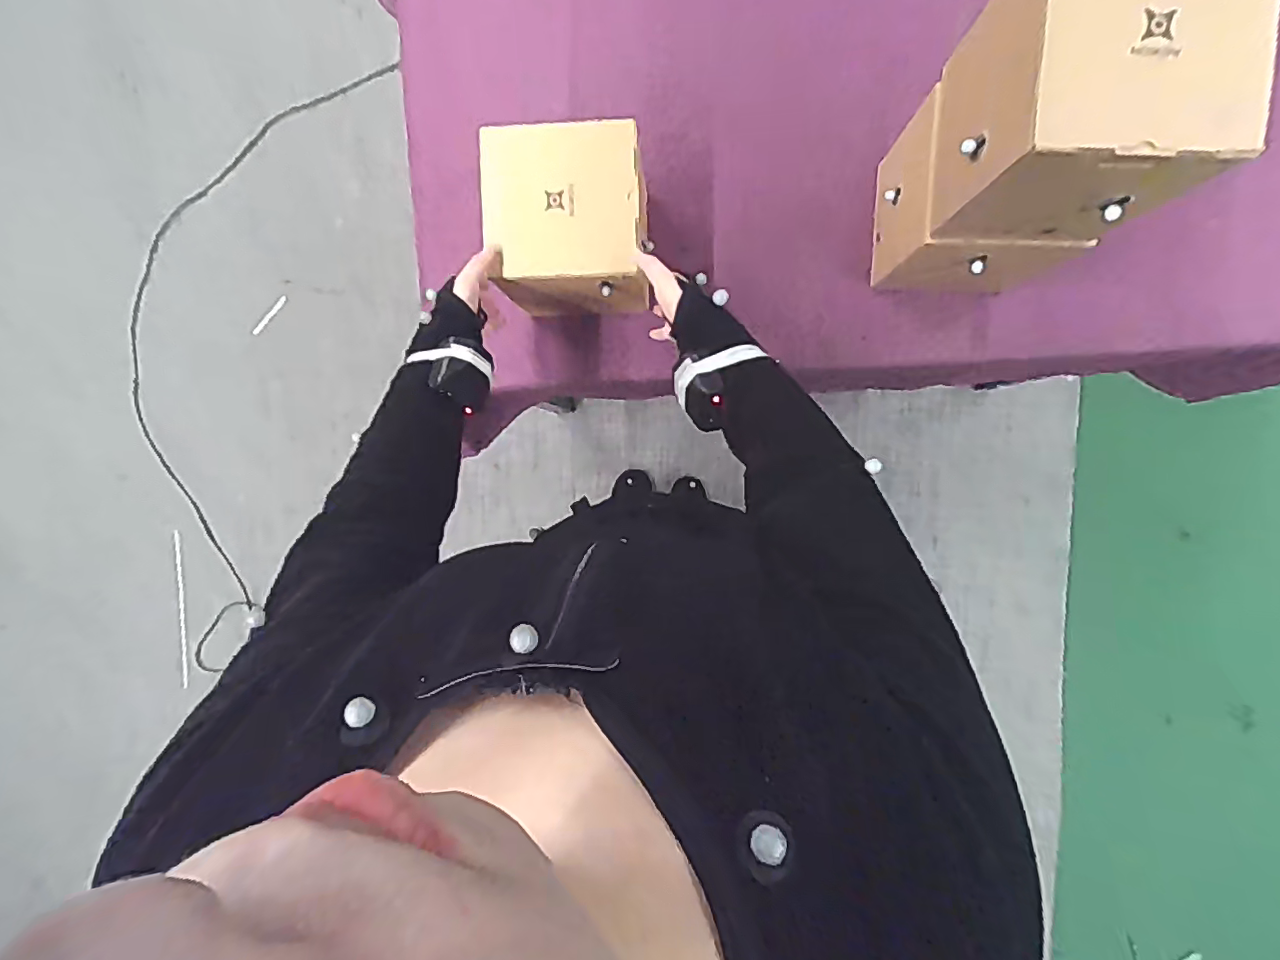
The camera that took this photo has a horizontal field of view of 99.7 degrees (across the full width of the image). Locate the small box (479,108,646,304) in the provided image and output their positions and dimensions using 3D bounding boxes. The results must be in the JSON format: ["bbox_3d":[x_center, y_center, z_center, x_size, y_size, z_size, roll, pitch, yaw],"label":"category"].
[{"bbox_3d":[-0.085,-0.323,0.672,0.179,0.176,0.168,-1,93,3],"label":"small box"}]

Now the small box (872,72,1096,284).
[{"bbox_3d":[0.391,-0.338,0.634,0.179,0.176,0.168,4,95,4],"label":"small box"}]

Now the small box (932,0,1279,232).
[{"bbox_3d":[0.379,-0.336,0.471,0.168,0.176,0.179,5,94,4],"label":"small box"}]
